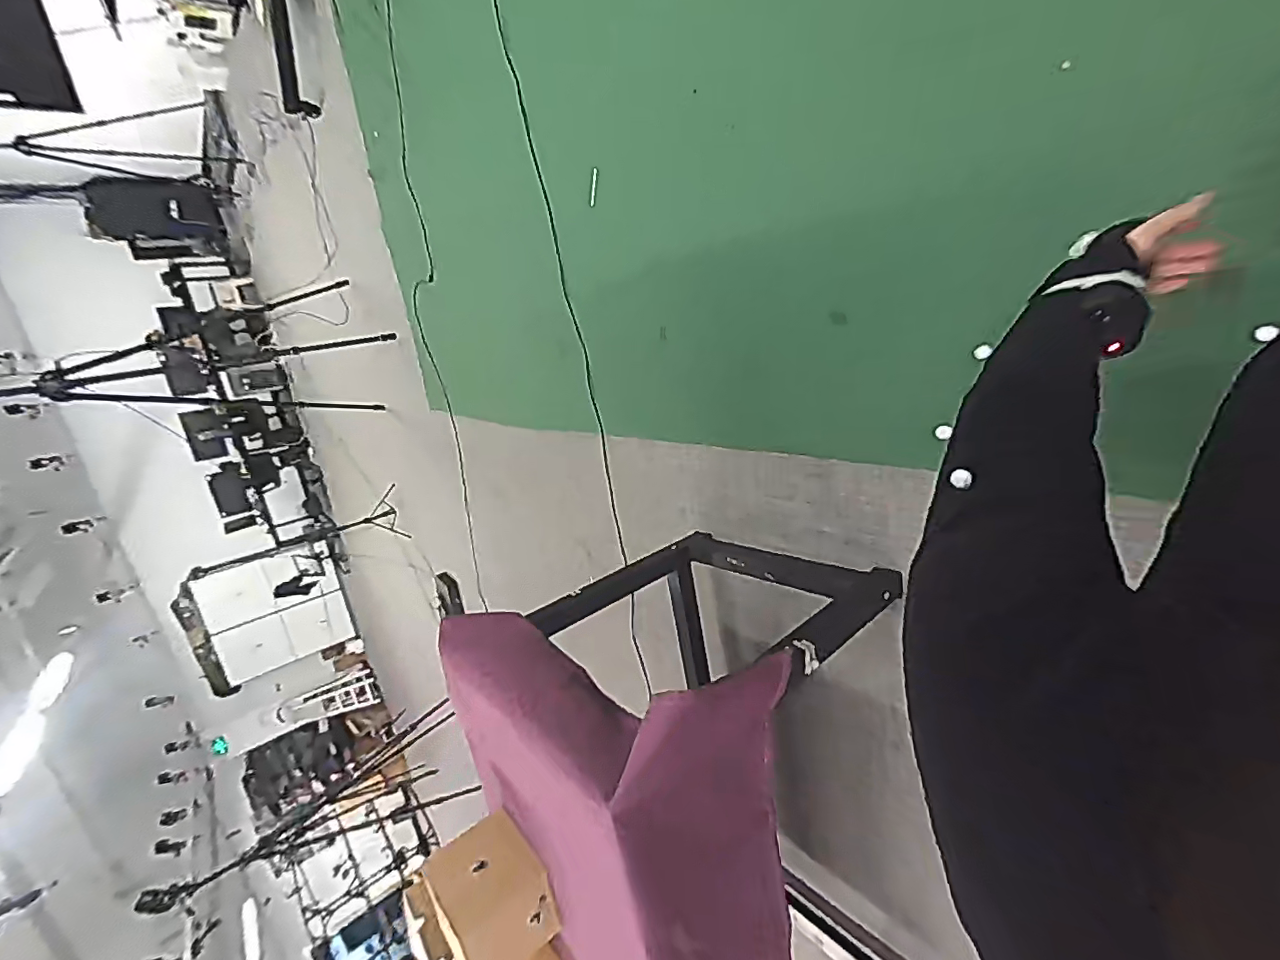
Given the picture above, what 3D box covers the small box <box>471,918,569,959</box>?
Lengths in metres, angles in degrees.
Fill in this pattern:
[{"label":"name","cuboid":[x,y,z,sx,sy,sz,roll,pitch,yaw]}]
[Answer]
[{"label":"small box","cuboid":[-0.230,1.042,1.090,0.179,0.176,0.168,17,120,47]}]
